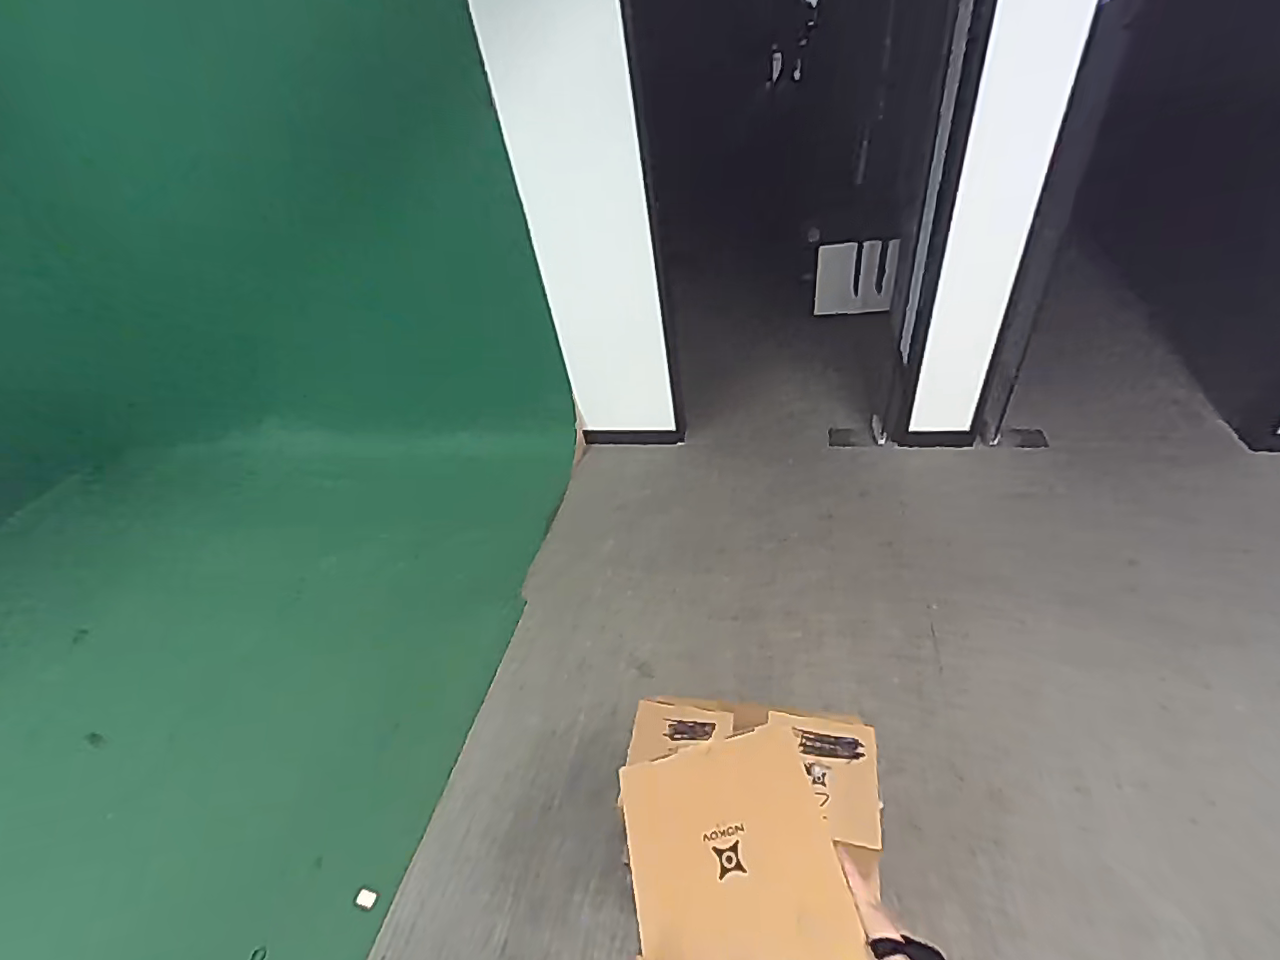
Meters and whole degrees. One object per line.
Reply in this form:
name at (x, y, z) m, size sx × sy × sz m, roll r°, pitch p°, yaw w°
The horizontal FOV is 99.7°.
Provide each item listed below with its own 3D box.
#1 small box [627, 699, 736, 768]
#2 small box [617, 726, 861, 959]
small box at (0.074, 0.510, 0.932) m, size 0.168 × 0.176 × 0.179 m, roll 3°, pitch 45°, yaw 15°
small box at (0.091, 0.363, 0.500) m, size 0.168 × 0.176 × 0.179 m, roll -19°, pitch 43°, yaw 5°
